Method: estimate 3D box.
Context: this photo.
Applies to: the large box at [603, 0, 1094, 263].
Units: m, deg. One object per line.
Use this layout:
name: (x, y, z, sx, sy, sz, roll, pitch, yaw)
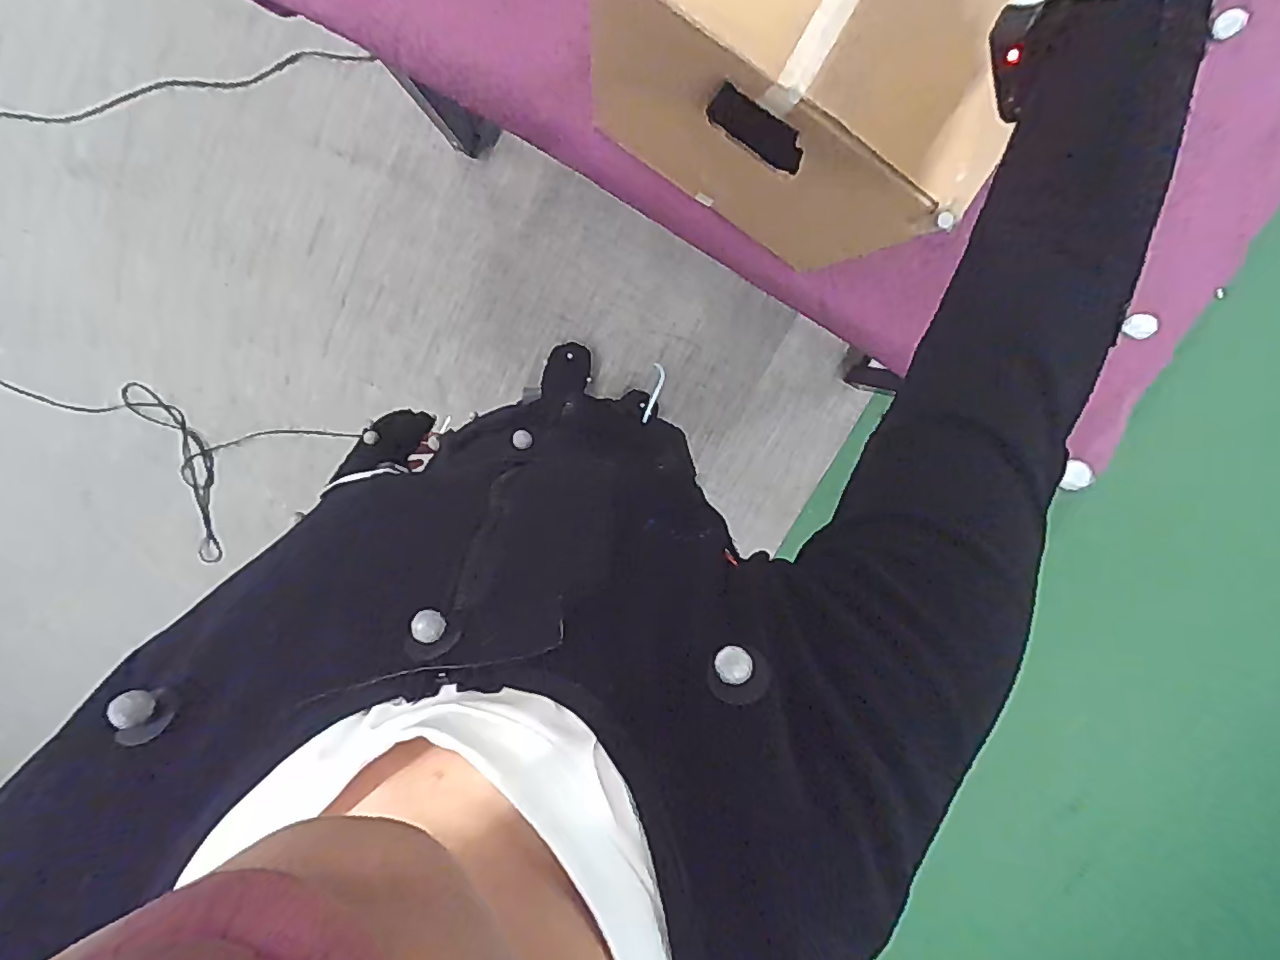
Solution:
large box: (0.194, -0.475, 0.493, 0.320, 0.320, 0.408, 30, 102, -11)
